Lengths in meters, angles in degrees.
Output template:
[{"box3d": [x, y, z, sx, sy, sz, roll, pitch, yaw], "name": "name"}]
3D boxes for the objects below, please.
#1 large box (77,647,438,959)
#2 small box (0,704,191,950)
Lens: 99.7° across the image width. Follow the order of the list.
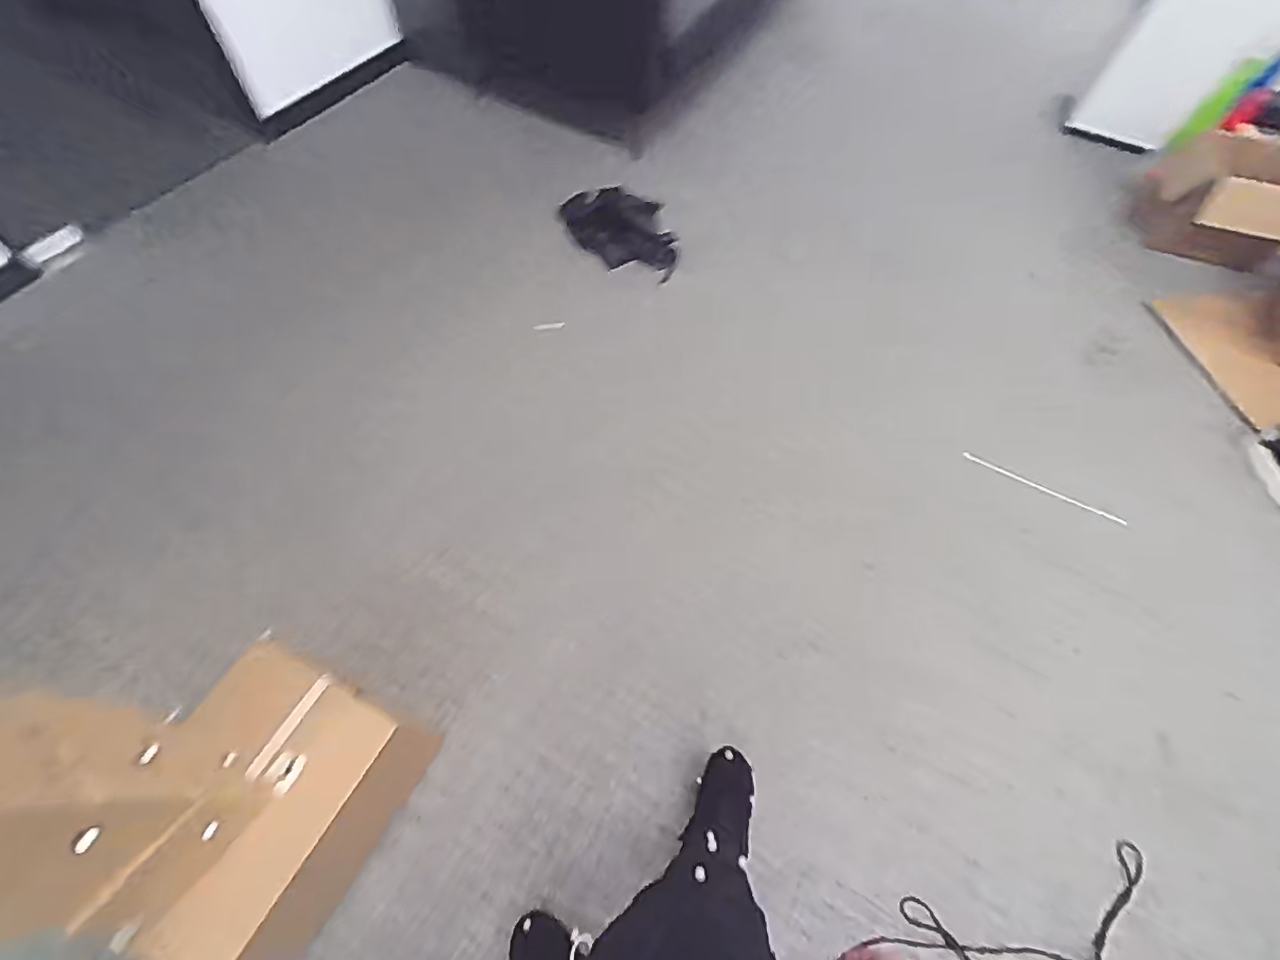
[{"box3d": [-0.643, 0.586, 0.971, 0.320, 0.320, 0.408, 26, 60, 10], "name": "large box"}, {"box3d": [-0.679, 0.392, 0.611, 0.168, 0.176, 0.179, 36, 62, 17], "name": "small box"}]
